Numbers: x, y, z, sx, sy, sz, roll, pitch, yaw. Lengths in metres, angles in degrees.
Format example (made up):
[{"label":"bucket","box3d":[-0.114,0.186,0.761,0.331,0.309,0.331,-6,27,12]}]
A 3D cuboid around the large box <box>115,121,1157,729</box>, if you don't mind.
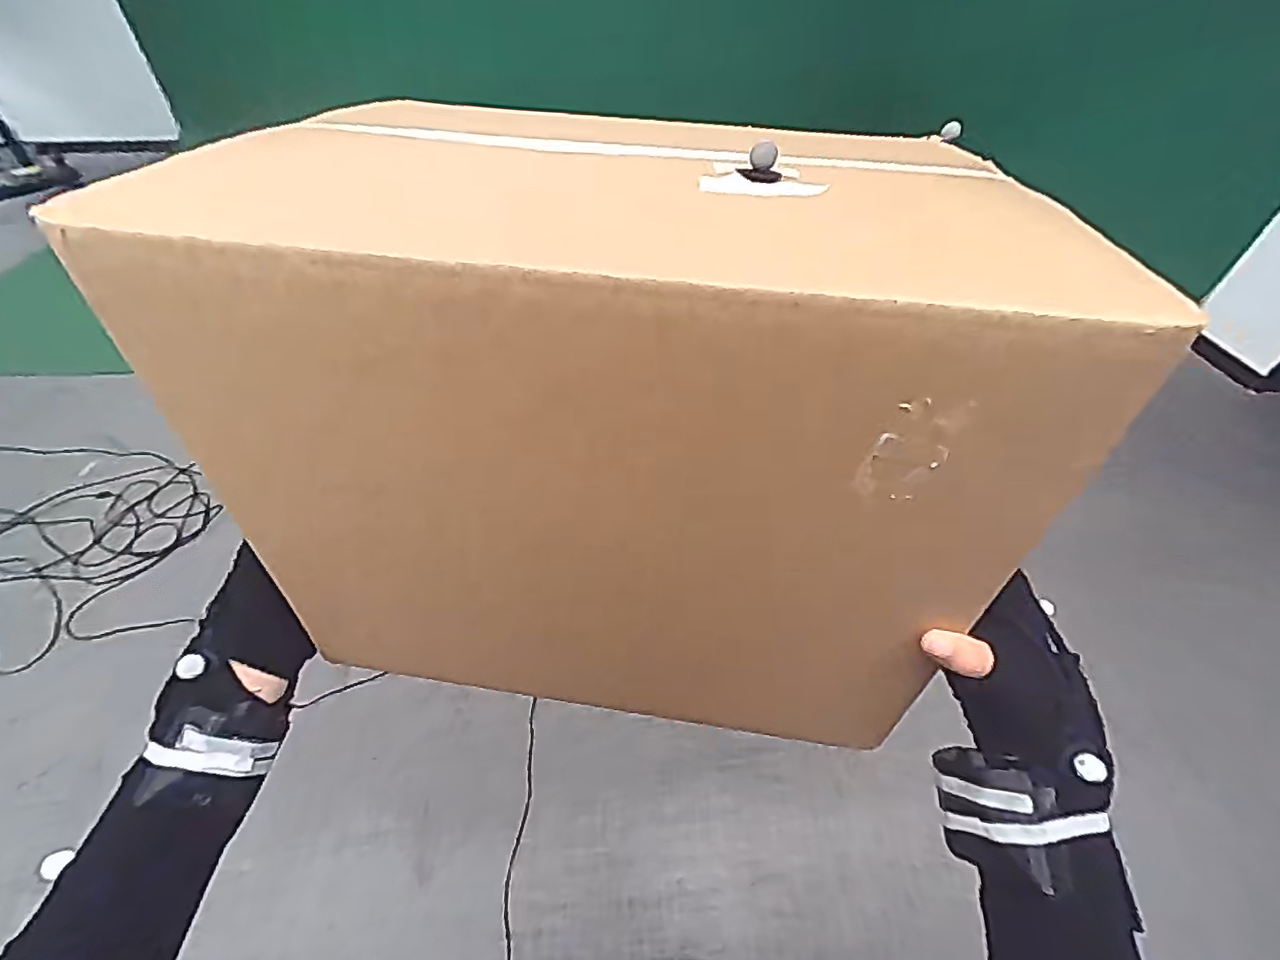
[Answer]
[{"label":"large box","box3d":[-0.003,-0.054,0.409,0.408,0.320,0.320,8,42,4]}]
